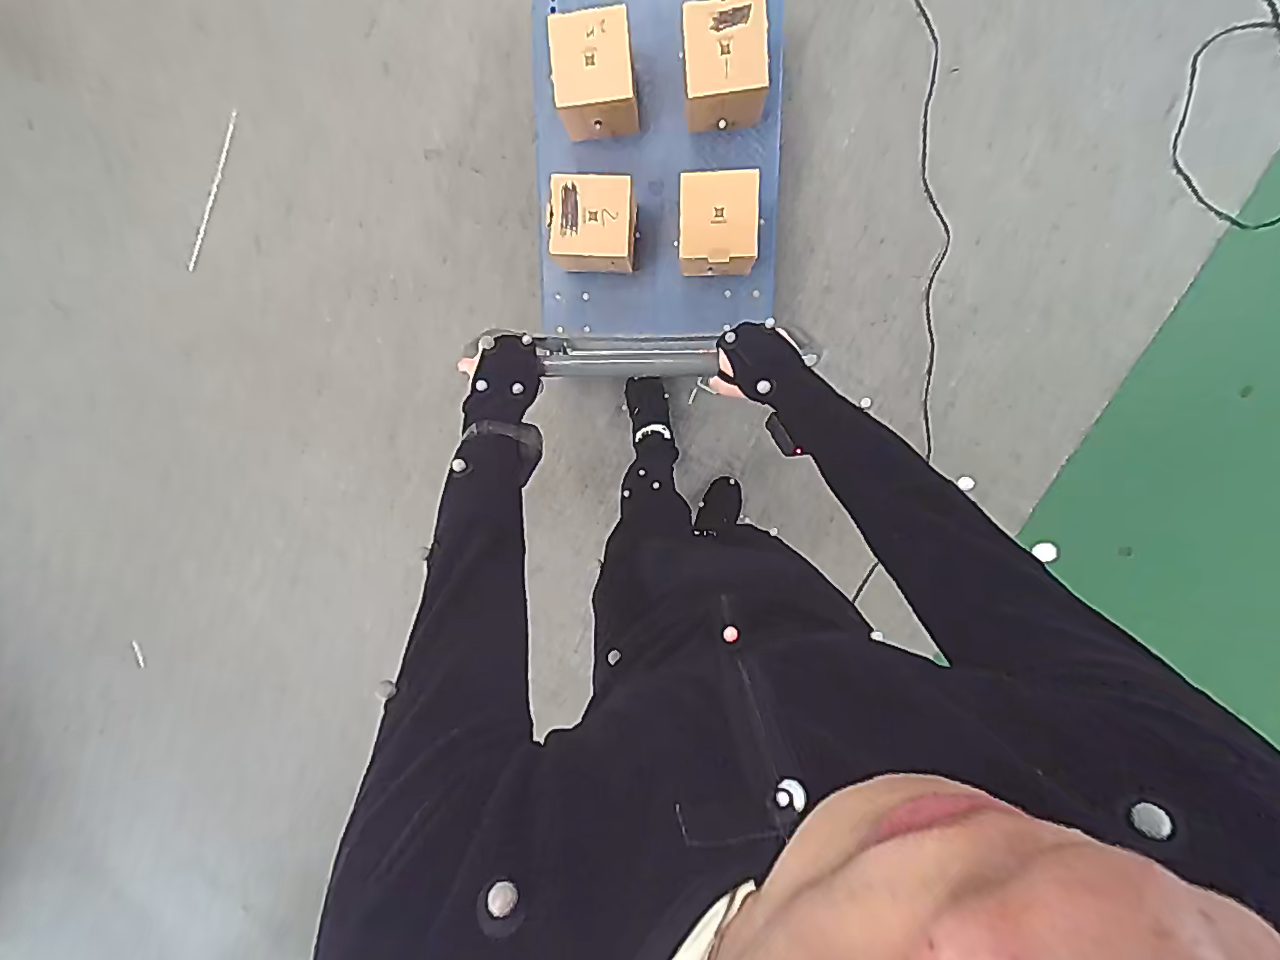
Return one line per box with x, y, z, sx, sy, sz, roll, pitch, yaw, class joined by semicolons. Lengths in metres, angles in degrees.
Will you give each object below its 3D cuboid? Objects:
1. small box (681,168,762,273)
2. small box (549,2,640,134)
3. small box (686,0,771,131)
0.176;-0.574;1.214;0.168;0.176;0.179;0;100;4;small box
-0.092;-0.883;1.181;0.168;0.176;0.179;-3;100;5;small box
0.183;-0.887;1.156;0.168;0.176;0.179;-3;100;6;small box
